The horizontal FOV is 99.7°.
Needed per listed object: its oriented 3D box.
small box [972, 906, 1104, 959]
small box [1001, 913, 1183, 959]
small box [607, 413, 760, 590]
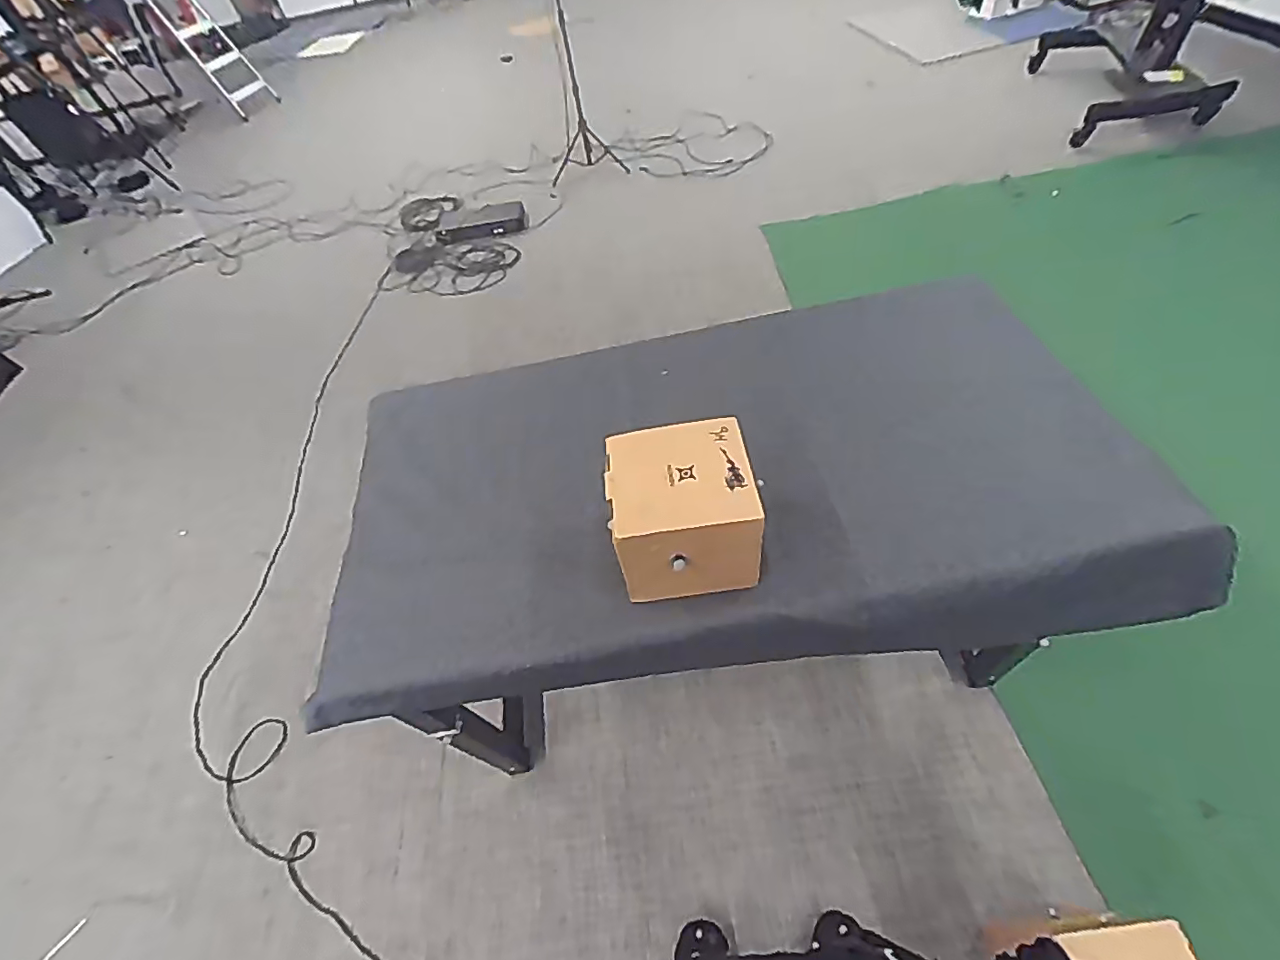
[{"bbox_3d":[0.720,0.852,0.933,0.179,0.176,0.168,-11,52,2],"label":"small box"},{"bbox_3d":[0.687,0.757,0.802,0.179,0.176,0.168,-9,51,3],"label":"small box"},{"bbox_3d":[0.058,0.035,0.728,0.179,0.176,0.168,-8,52,3],"label":"small box"}]
